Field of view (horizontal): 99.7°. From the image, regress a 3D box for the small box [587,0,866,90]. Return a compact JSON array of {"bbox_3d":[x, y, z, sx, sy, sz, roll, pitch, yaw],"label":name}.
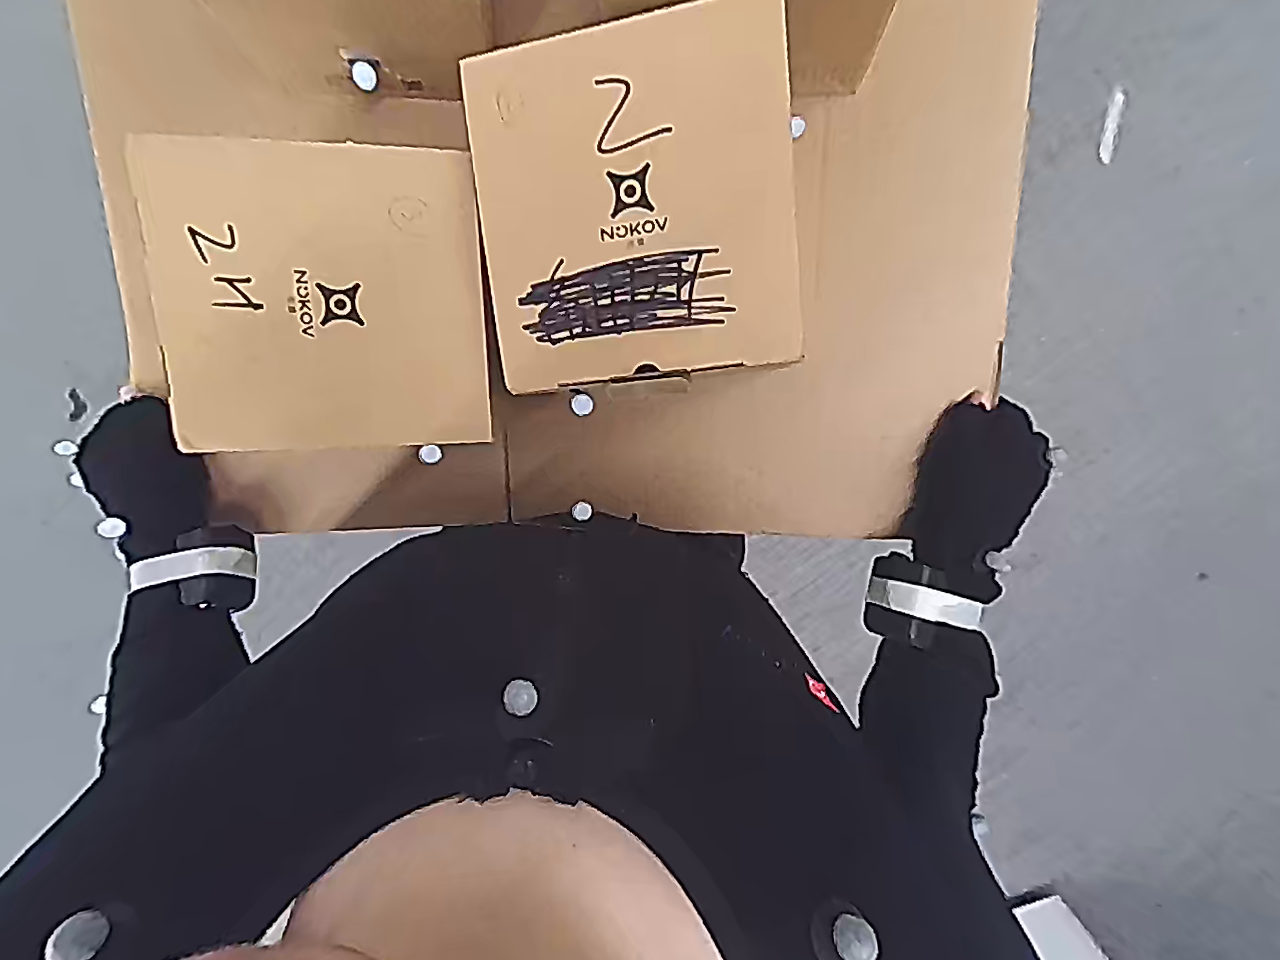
[{"bbox_3d":[0.055,-0.359,0.313,0.168,0.176,0.179,2,99,10],"label":"small box"}]
